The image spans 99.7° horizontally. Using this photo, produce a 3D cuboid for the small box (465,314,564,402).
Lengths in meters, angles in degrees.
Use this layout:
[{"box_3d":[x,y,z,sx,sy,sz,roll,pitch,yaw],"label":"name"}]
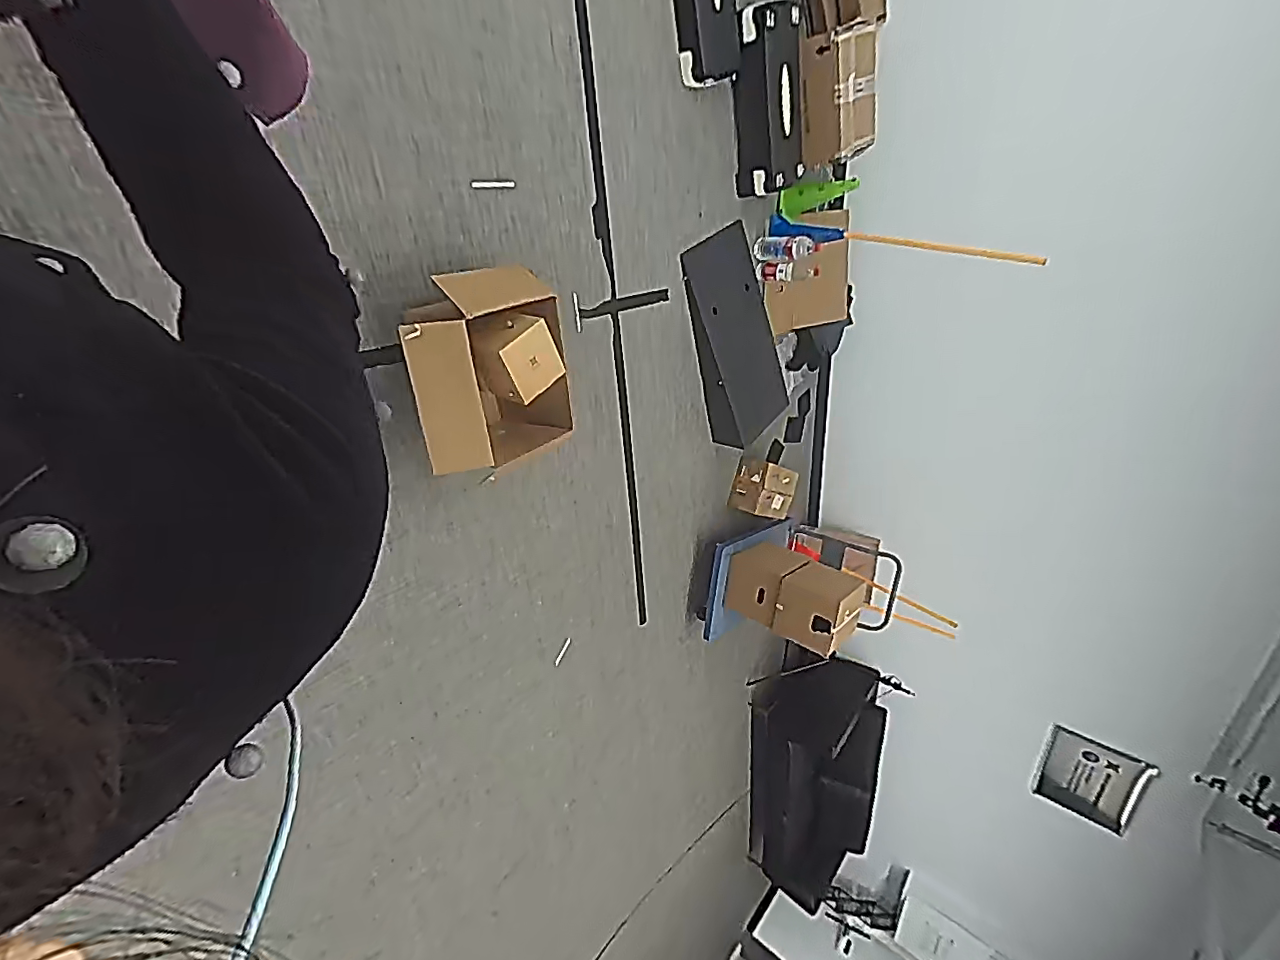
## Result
[{"box_3d":[-0.349,-0.344,1.494,0.168,0.176,0.179,-48,140,-25],"label":"small box"}]
